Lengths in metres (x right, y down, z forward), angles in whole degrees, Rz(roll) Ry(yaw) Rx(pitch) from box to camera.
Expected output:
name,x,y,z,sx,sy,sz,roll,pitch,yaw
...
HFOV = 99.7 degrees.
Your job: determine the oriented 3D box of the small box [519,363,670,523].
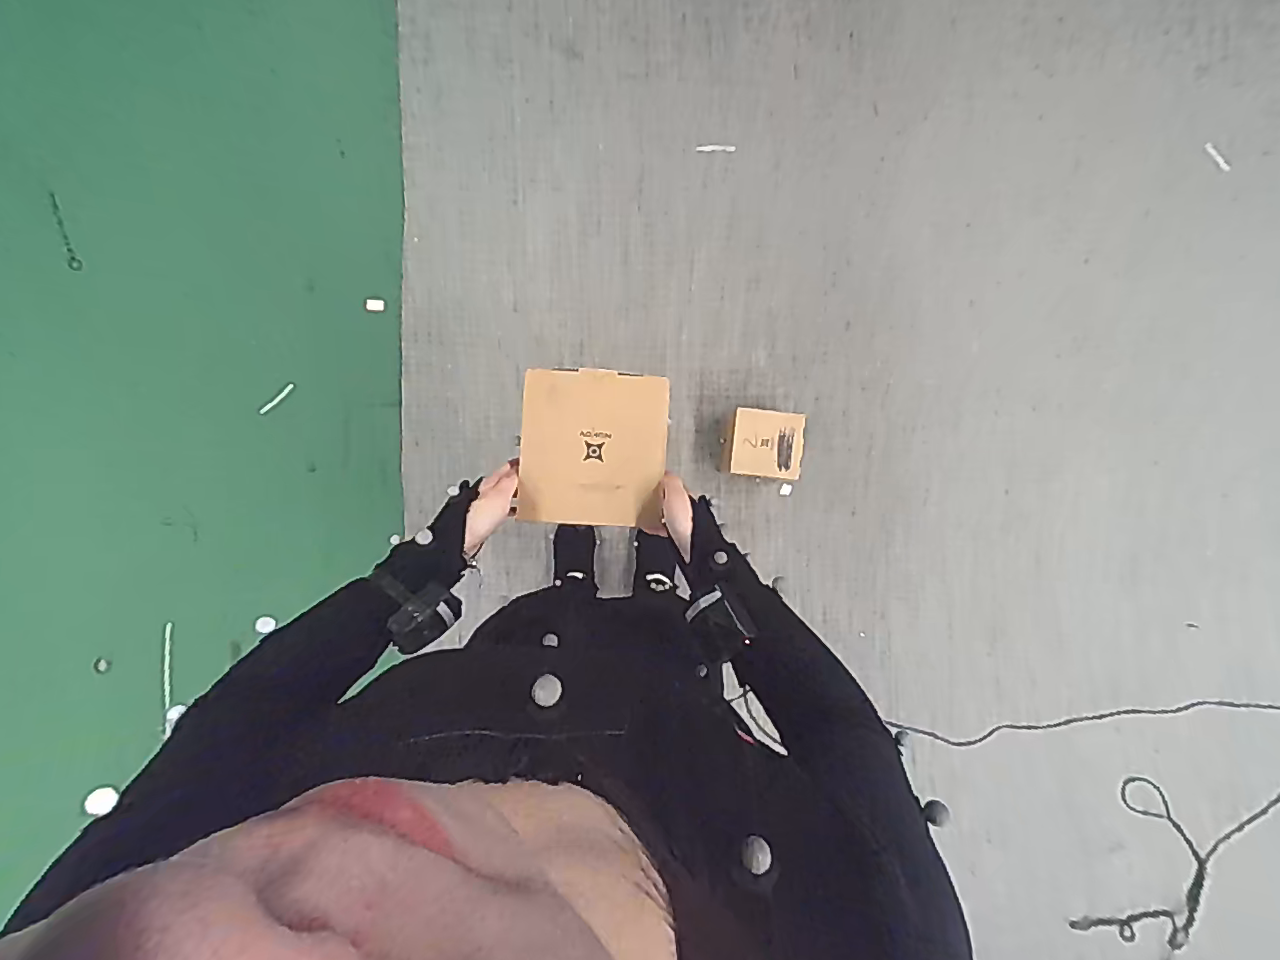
name,x,y,z,sx,sy,sz,roll,pitch,yaw
small box,-0.058,-0.042,0.698,0.168,0.176,0.179,3,91,-4
